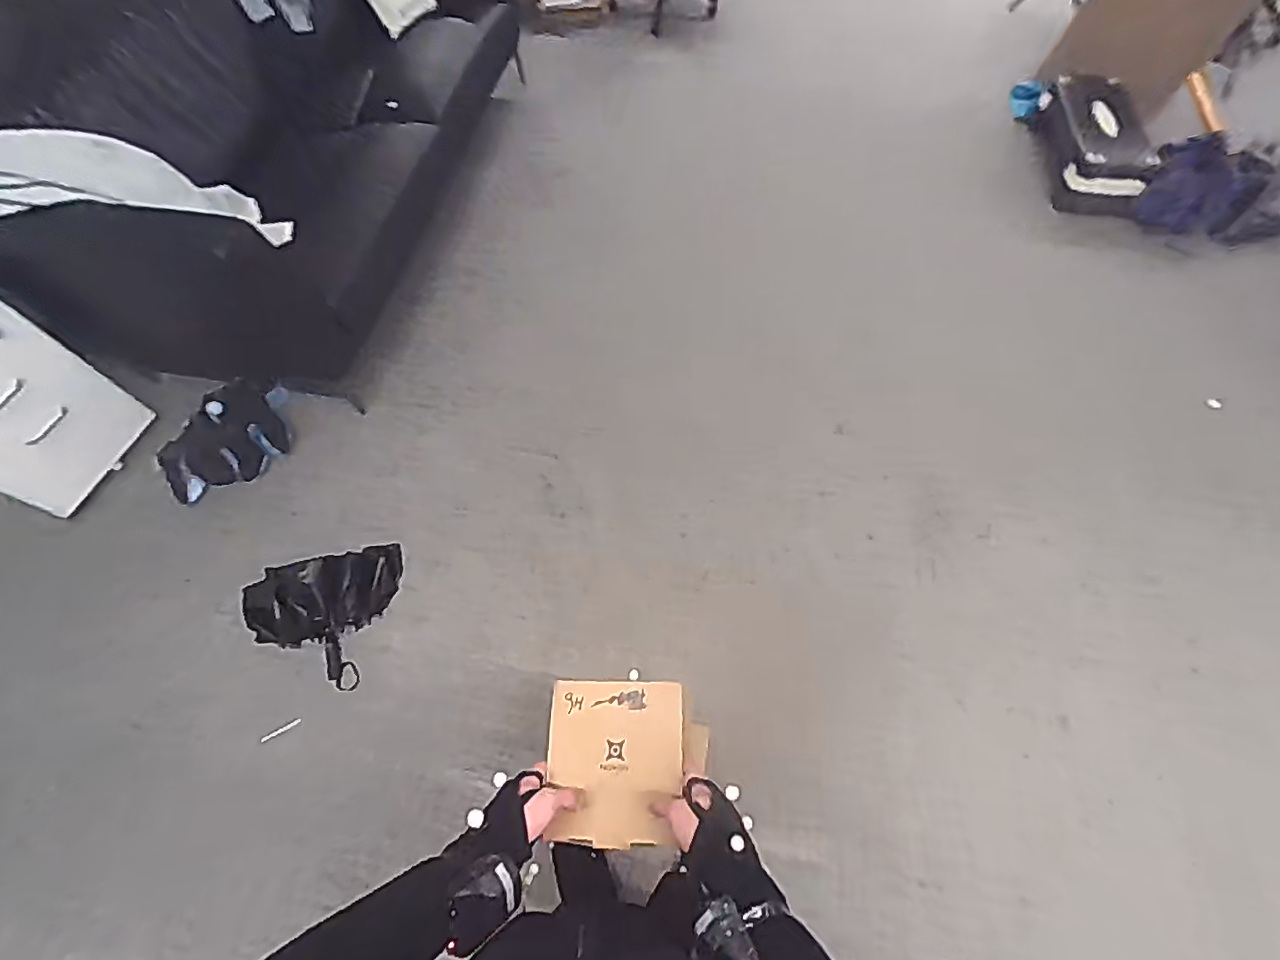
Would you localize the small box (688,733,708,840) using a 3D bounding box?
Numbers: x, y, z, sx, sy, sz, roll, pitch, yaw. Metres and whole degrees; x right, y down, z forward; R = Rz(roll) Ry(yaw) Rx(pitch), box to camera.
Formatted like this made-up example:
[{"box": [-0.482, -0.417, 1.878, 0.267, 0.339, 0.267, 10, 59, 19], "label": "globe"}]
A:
[{"box": [0.038, 0.602, 1.096, 0.168, 0.176, 0.179, 10, 62, 6], "label": "small box"}]

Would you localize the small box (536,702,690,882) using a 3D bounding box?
[{"box": [-0.024, 0.383, 0.695, 0.168, 0.176, 0.179, -3, 68, 8], "label": "small box"}]
